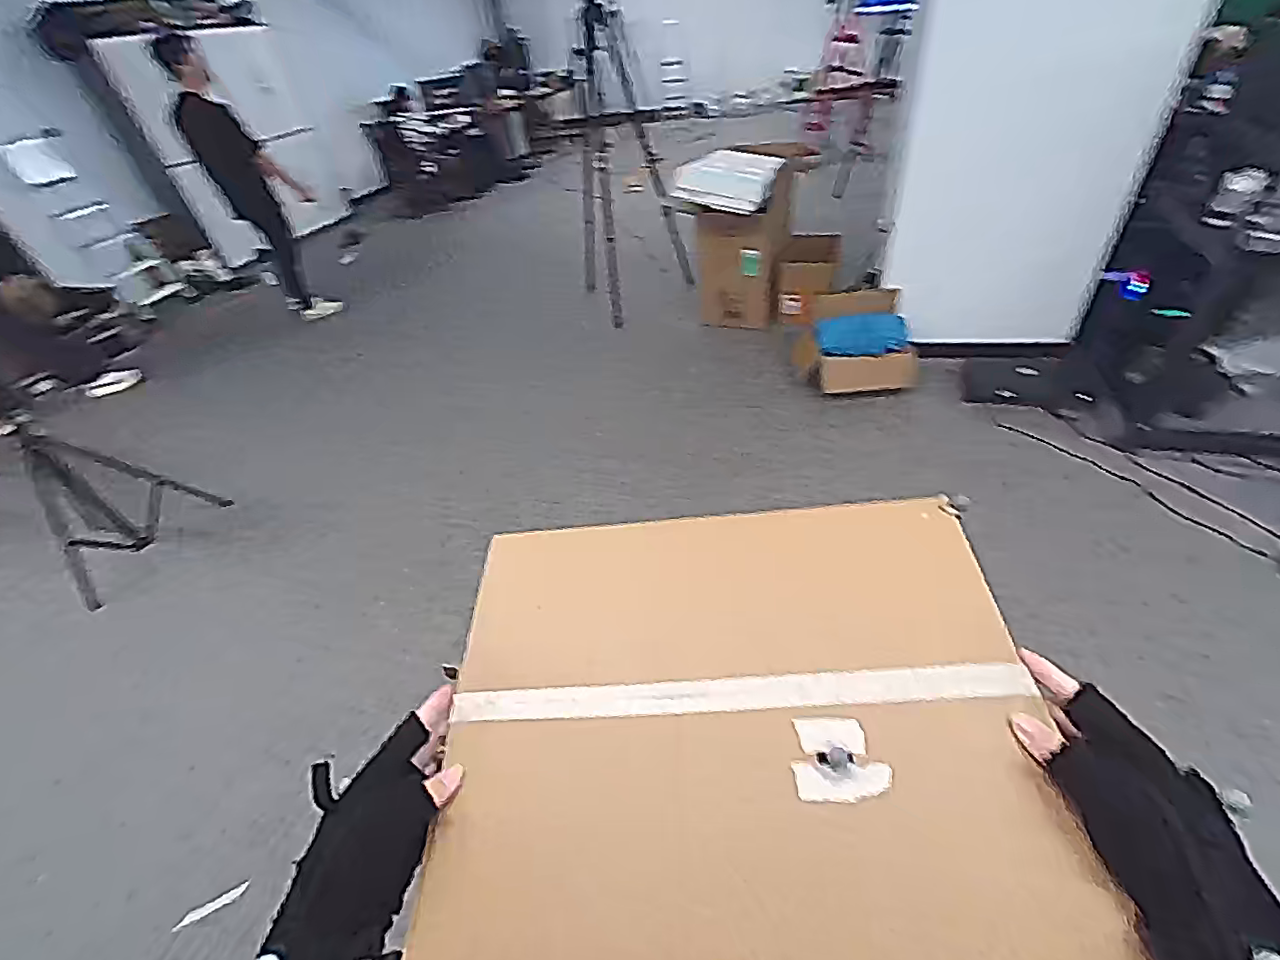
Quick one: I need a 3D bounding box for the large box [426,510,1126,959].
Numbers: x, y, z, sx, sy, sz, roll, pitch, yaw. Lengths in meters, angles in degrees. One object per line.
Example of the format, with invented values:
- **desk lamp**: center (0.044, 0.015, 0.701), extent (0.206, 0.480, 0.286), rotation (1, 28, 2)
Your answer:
- **large box**: center (0.082, 0.258, 0.512), extent (0.408, 0.320, 0.320), rotation (-5, 50, 6)
